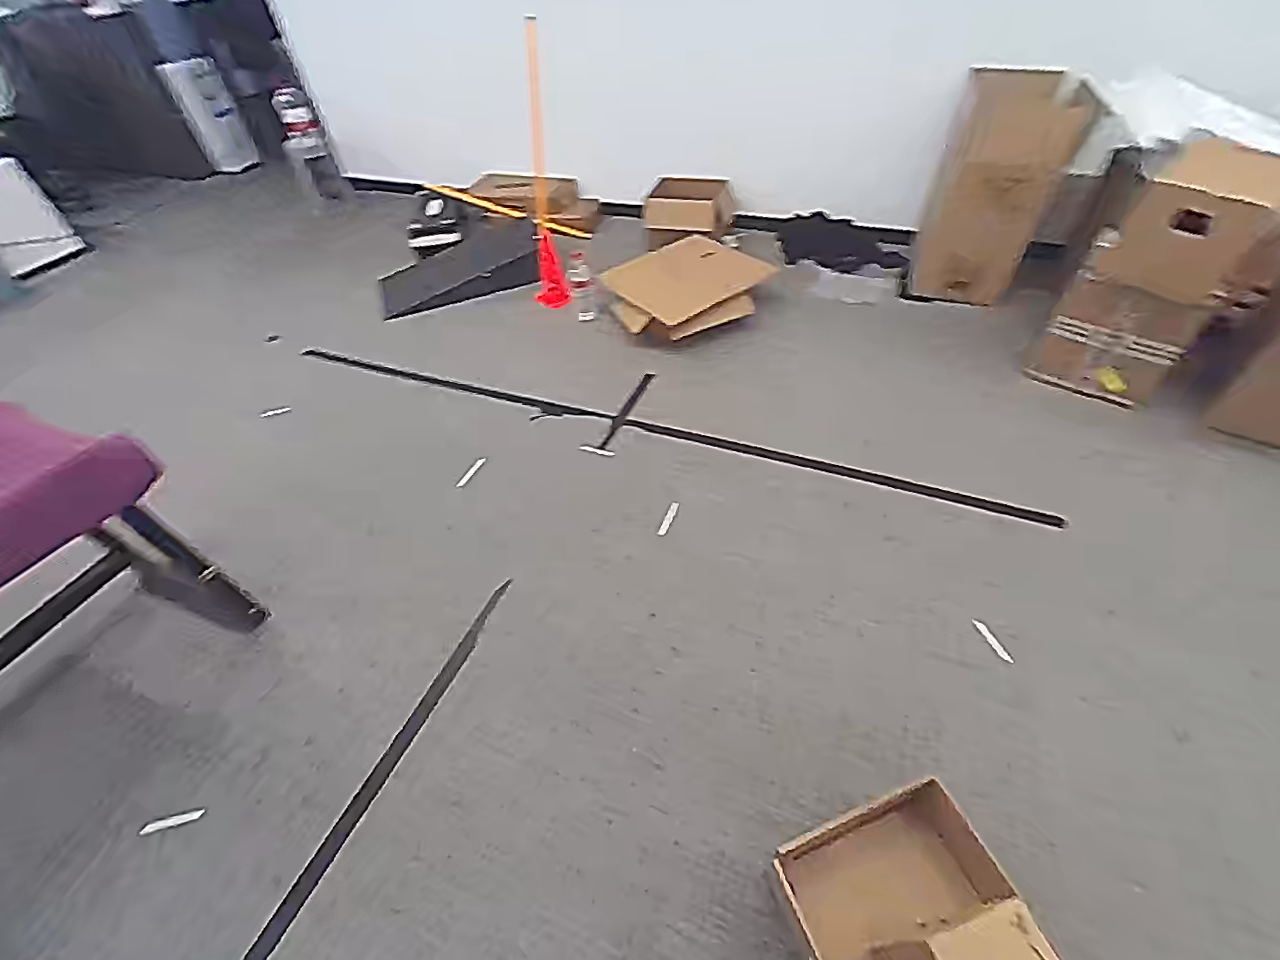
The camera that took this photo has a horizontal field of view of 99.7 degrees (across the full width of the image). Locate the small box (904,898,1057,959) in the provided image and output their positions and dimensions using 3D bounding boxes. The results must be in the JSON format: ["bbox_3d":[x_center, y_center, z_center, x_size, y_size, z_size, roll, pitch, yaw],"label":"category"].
[{"bbox_3d":[0.548,0.796,0.854,0.179,0.176,0.168,-15,49,-9],"label":"small box"}]
